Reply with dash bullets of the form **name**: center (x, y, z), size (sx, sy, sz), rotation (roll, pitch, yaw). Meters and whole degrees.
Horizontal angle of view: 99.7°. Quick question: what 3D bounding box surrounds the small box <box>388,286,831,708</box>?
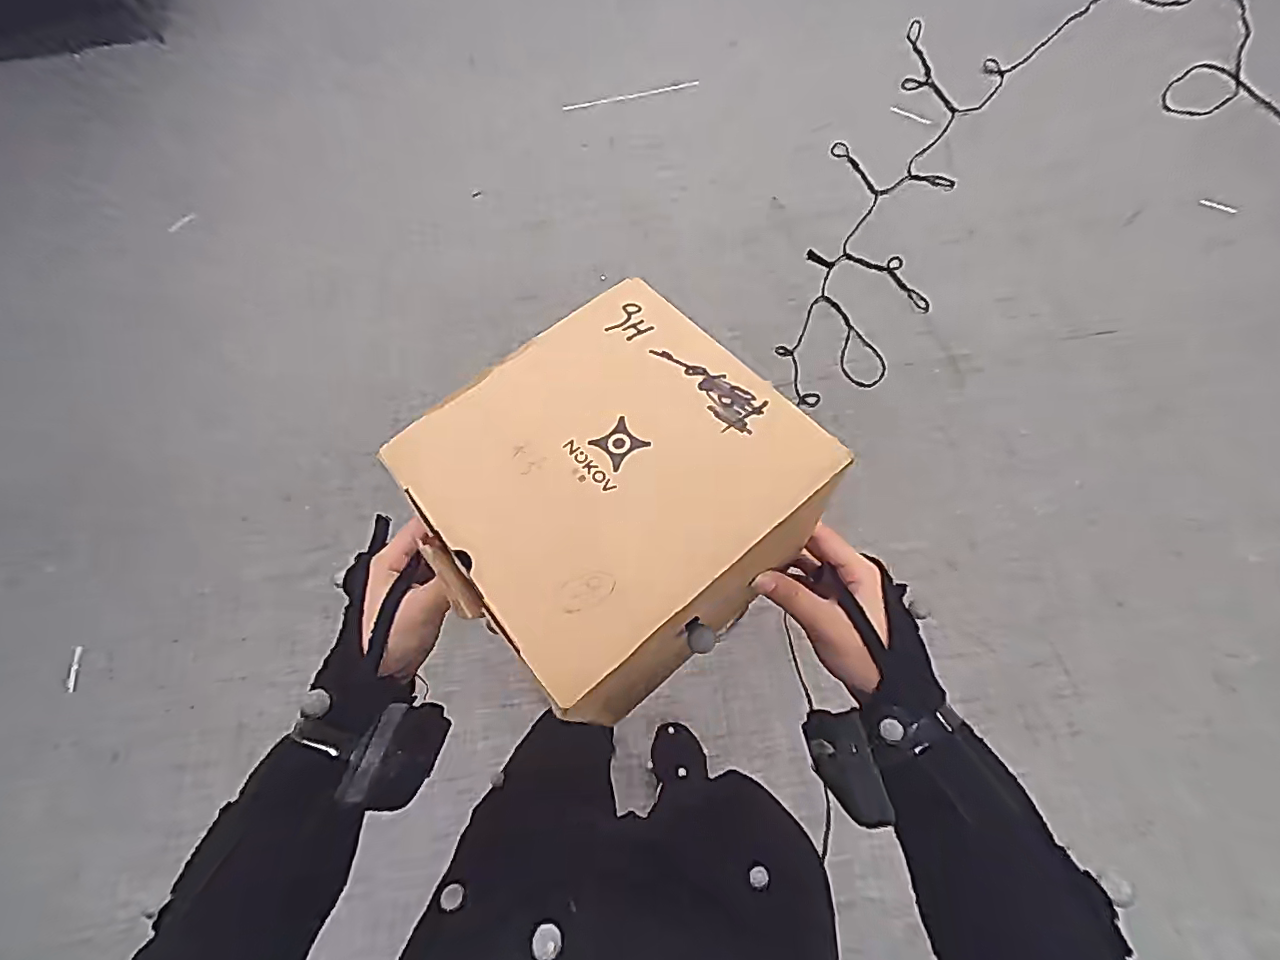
- **small box**: center (-0.012, 0.024, 0.346), size (0.179, 0.176, 0.168), rotation (-38, 67, -12)
